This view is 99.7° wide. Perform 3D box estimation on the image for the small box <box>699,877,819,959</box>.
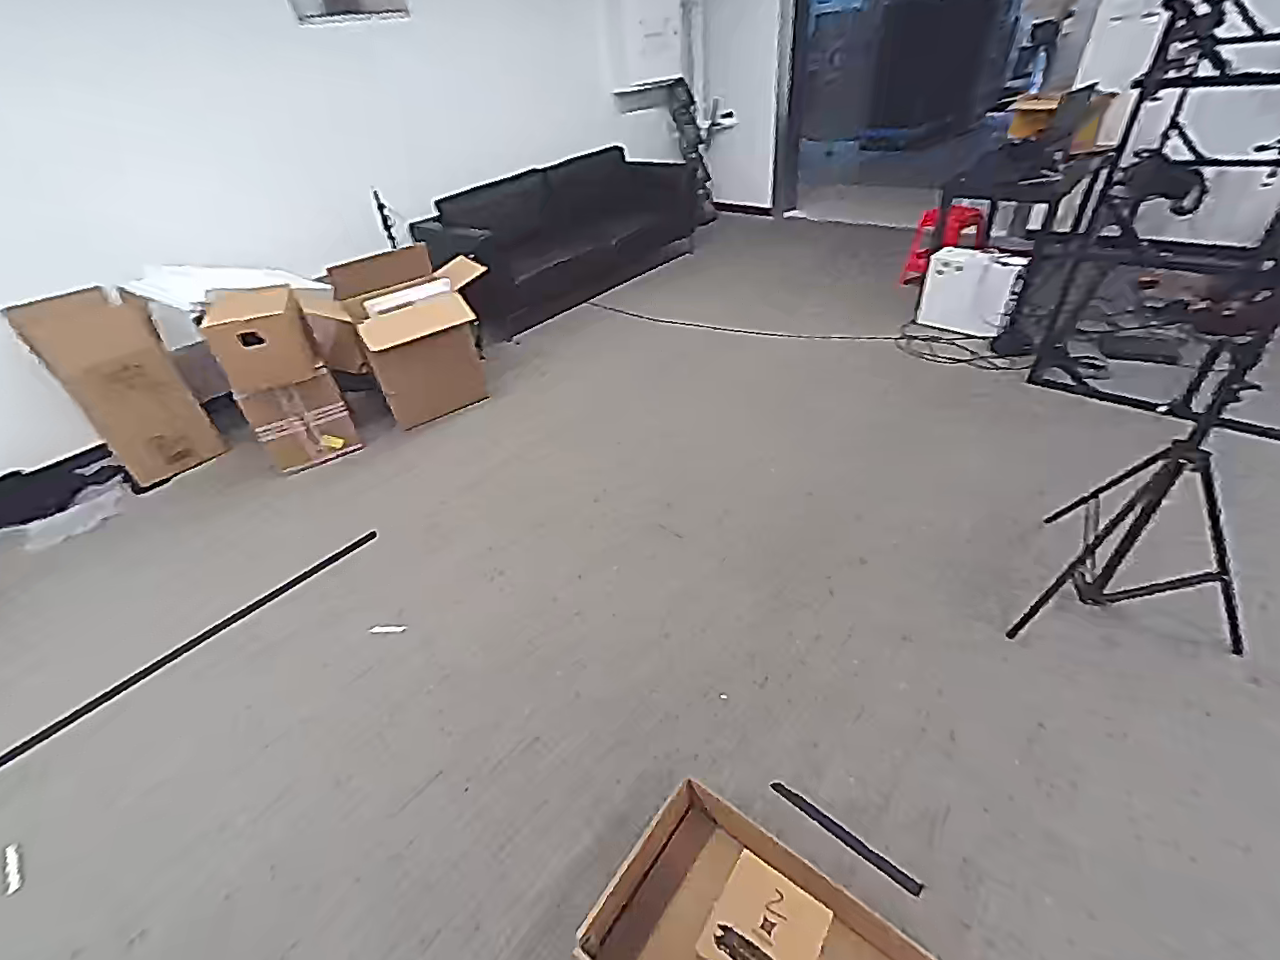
[{"bbox_3d":[0.220,0.918,1.027,0.168,0.176,0.179,21,46,31],"label":"small box"}]
